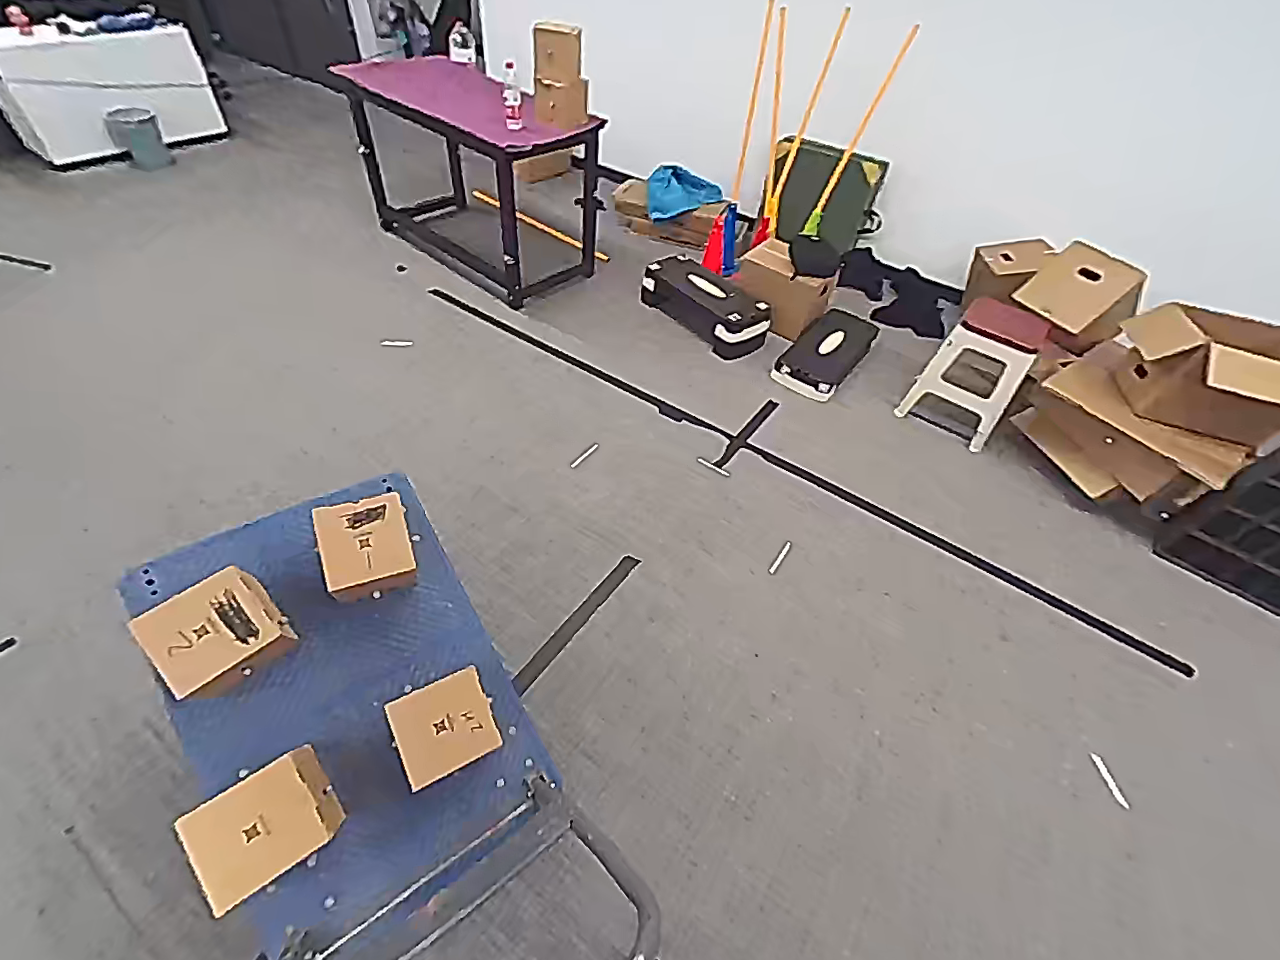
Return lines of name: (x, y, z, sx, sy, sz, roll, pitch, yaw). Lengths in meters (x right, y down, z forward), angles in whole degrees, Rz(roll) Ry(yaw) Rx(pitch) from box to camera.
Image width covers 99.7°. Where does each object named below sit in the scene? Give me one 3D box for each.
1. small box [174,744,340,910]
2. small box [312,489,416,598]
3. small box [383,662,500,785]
small box: (-0.666, 0.600, 0.962, 0.179, 0.176, 0.168, -28, 82, -29)
small box: (-0.591, 0.140, 1.170, 0.168, 0.176, 0.179, -14, 76, -25)
small box: (-0.403, 0.490, 1.105, 0.179, 0.176, 0.168, -20, 78, -26)
